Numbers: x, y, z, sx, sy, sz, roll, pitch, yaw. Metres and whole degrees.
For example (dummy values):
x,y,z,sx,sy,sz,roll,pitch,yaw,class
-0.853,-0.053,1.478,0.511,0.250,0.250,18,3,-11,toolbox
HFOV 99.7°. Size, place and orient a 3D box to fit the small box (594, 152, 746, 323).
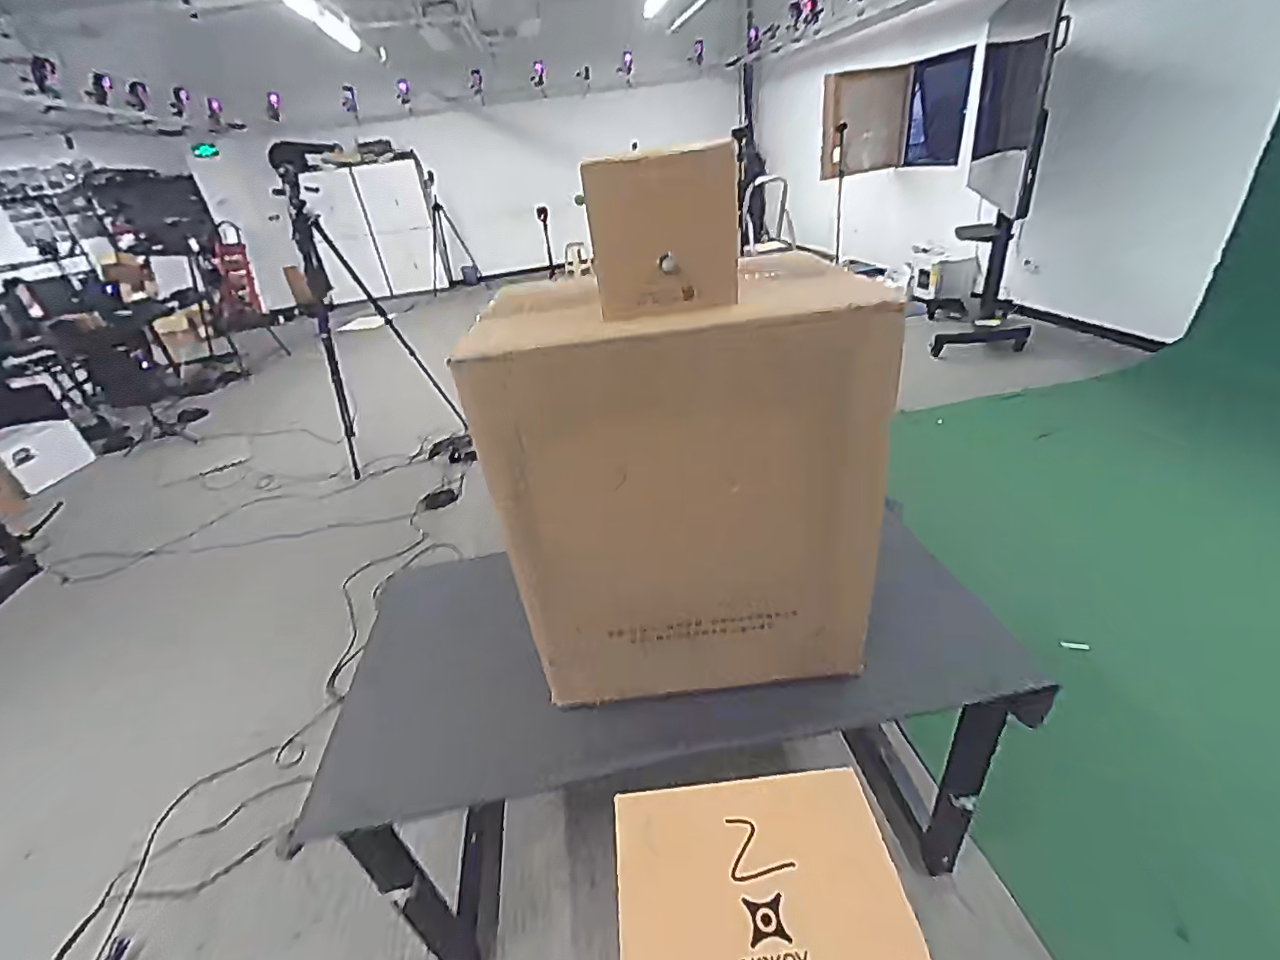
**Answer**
x,y,z,sx,sy,sz,roll,pitch,yaw,class
0.034,-0.310,0.688,0.168,0.176,0.179,-8,33,0,small box
